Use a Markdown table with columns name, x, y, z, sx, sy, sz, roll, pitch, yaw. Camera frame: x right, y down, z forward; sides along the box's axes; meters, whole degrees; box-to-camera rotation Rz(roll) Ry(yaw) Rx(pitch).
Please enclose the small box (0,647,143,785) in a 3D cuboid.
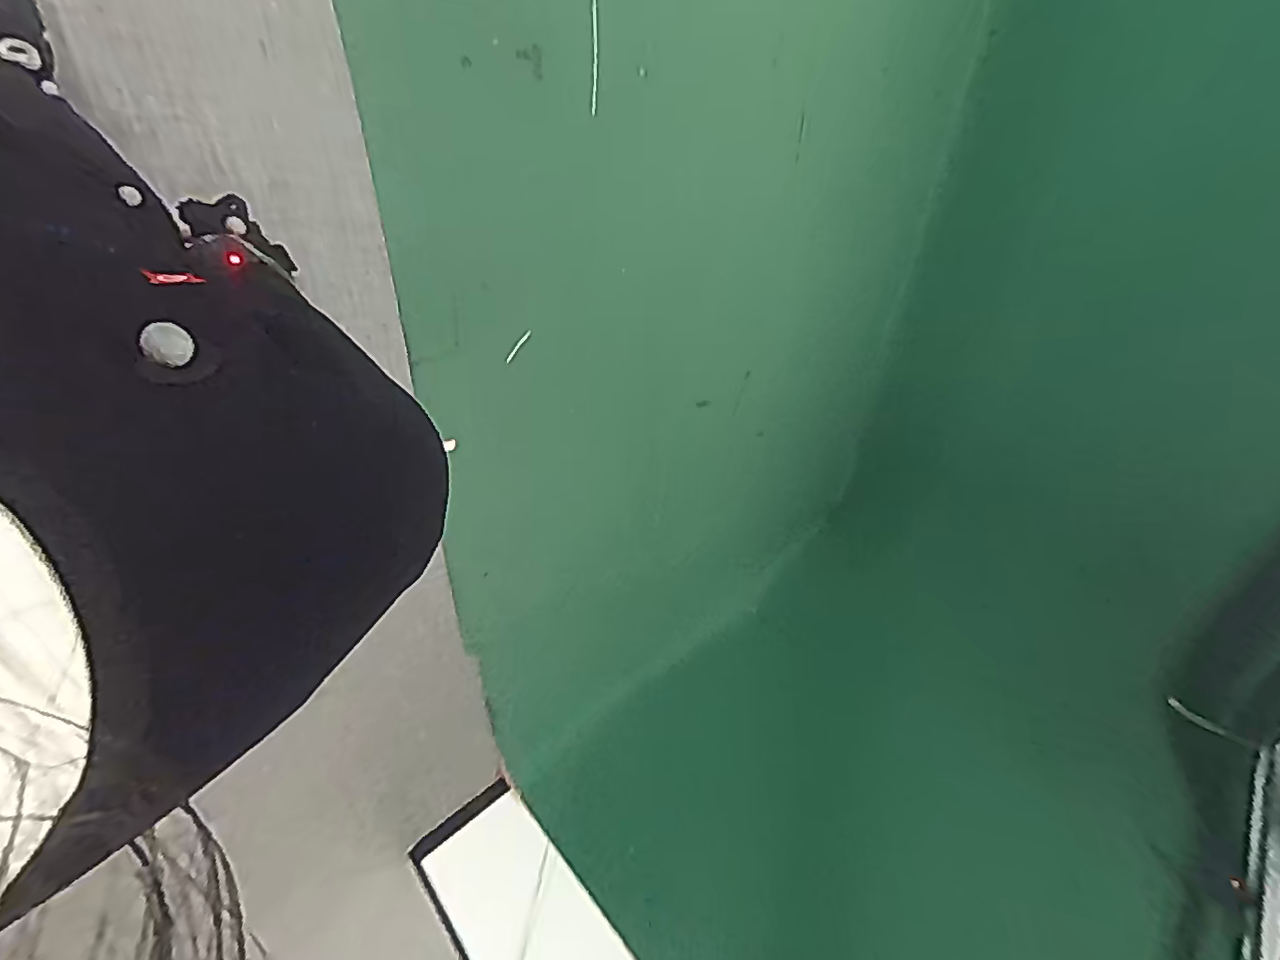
| name | x | y | z | sx | sy | sz | roll | pitch | yaw |
| --- | --- | --- | --- | --- | --- | --- | --- | --- | --- |
| small box | -1.243 | 0.507 | 1.182 | 0.179 | 0.176 | 0.168 | -28 | 133 | -37 |
